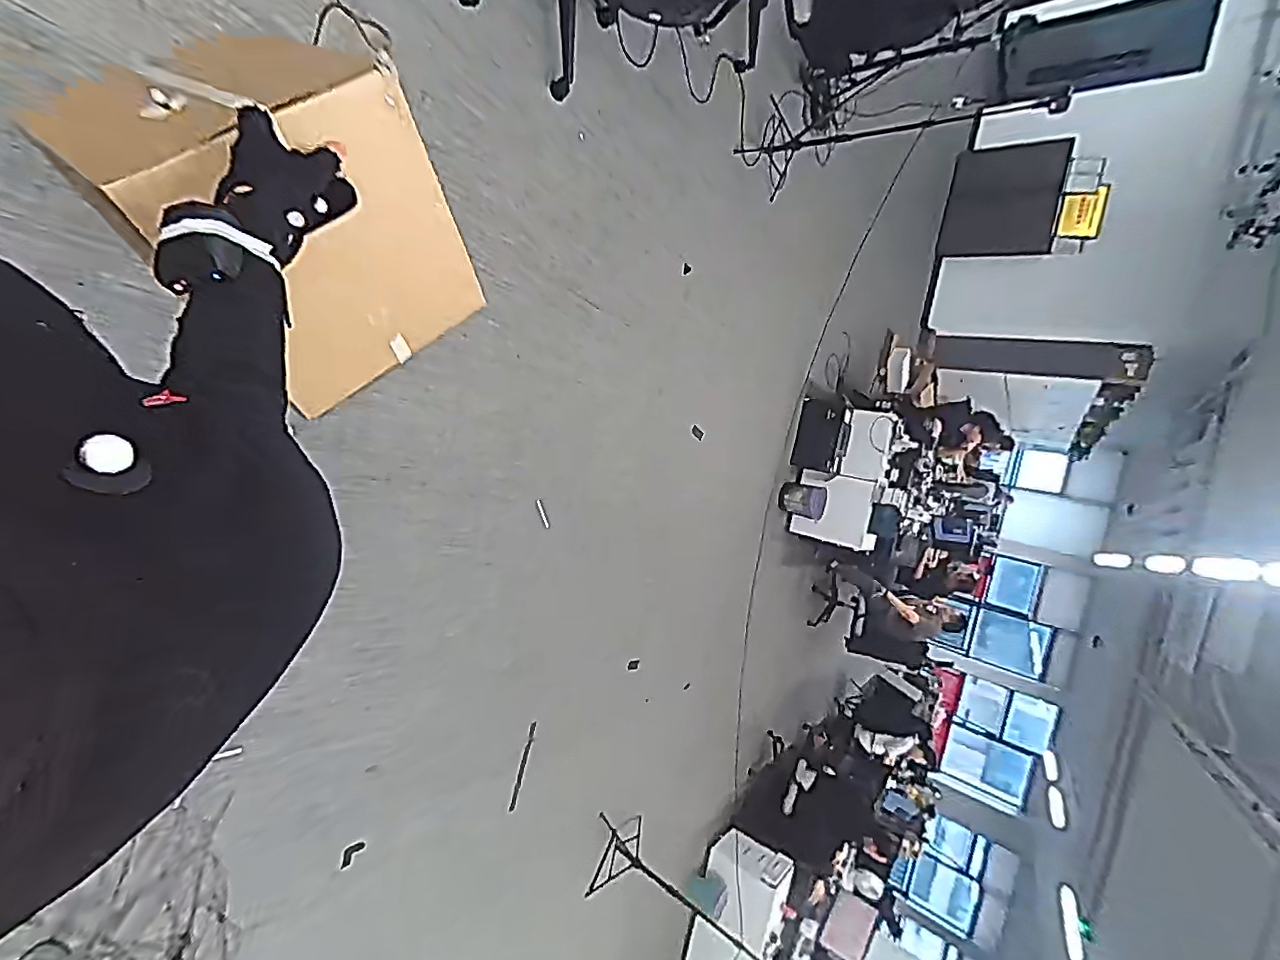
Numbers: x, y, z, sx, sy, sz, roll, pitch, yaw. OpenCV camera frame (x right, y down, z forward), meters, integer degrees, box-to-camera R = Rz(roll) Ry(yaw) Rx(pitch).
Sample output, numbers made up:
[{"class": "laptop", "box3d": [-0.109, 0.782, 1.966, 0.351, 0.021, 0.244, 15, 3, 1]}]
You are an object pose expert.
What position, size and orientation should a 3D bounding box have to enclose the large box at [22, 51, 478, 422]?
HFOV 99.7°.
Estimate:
[{"class": "large box", "box3d": [-0.507, -0.349, 0.758, 0.320, 0.408, 0.320, -44, 150, -23]}]
